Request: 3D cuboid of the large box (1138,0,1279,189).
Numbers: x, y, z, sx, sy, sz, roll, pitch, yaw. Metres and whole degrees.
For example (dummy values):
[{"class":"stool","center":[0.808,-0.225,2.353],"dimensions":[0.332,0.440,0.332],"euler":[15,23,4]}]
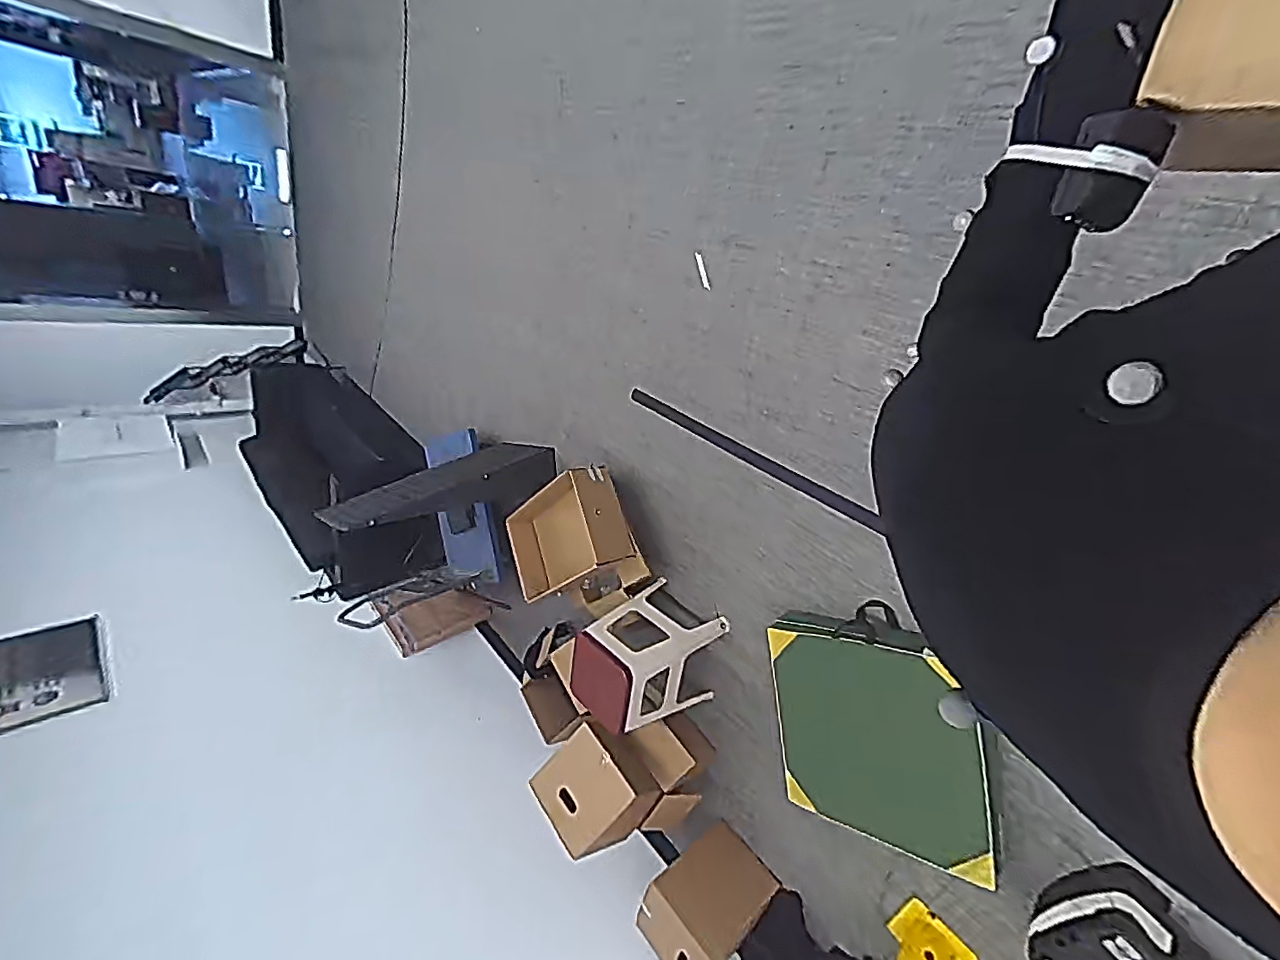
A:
[{"class":"large box","center":[0.585,-0.348,0.288],"dimensions":[0.408,0.320,0.320],"euler":[24,122,36]}]
